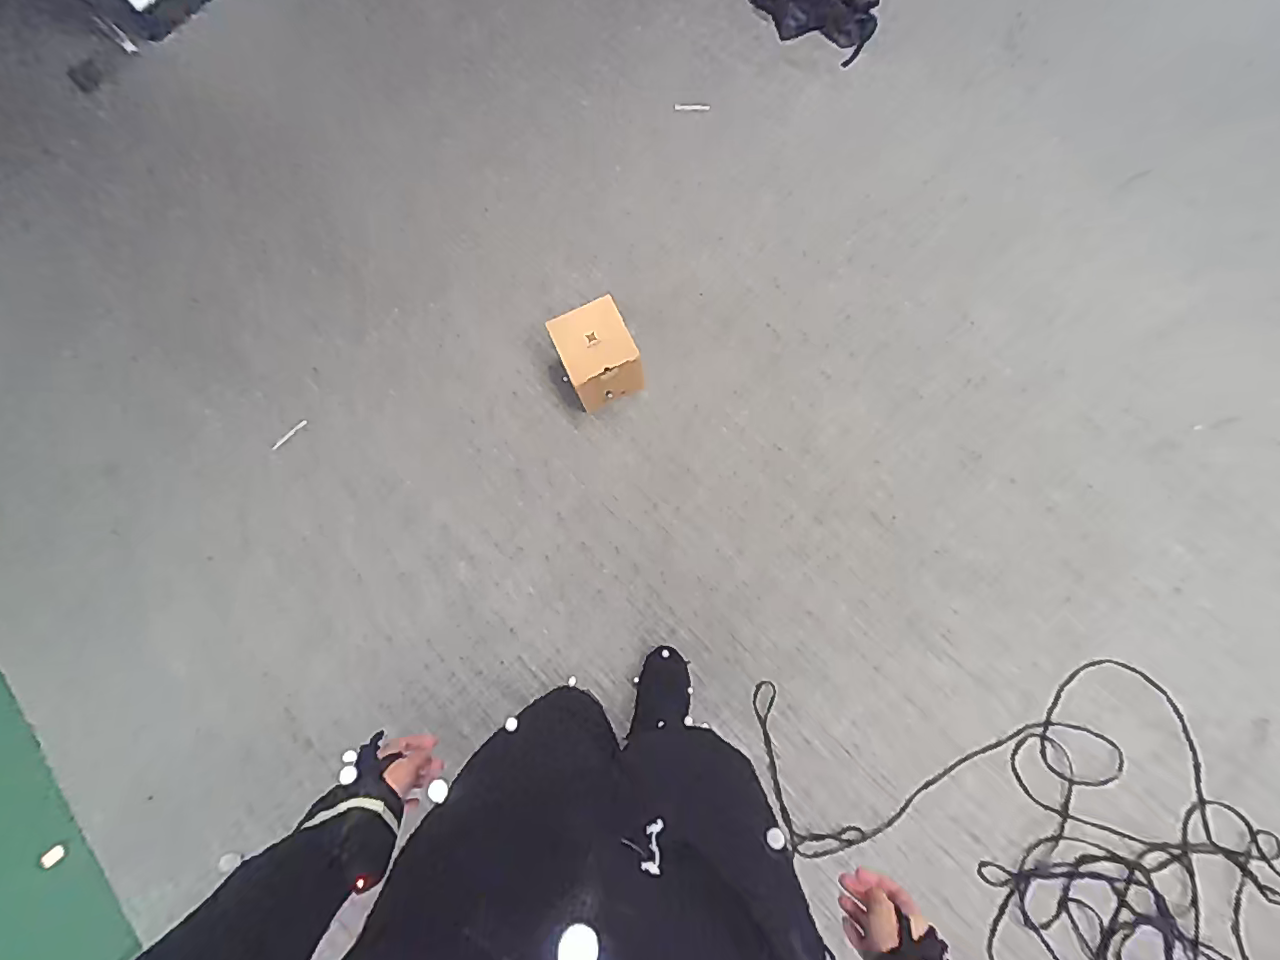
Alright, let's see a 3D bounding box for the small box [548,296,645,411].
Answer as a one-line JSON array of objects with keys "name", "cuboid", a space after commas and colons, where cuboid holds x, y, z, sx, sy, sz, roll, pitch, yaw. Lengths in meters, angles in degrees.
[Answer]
[{"name": "small box", "cuboid": [-0.097, -0.294, 1.283, 0.168, 0.176, 0.179, -25, 76, -2]}]
